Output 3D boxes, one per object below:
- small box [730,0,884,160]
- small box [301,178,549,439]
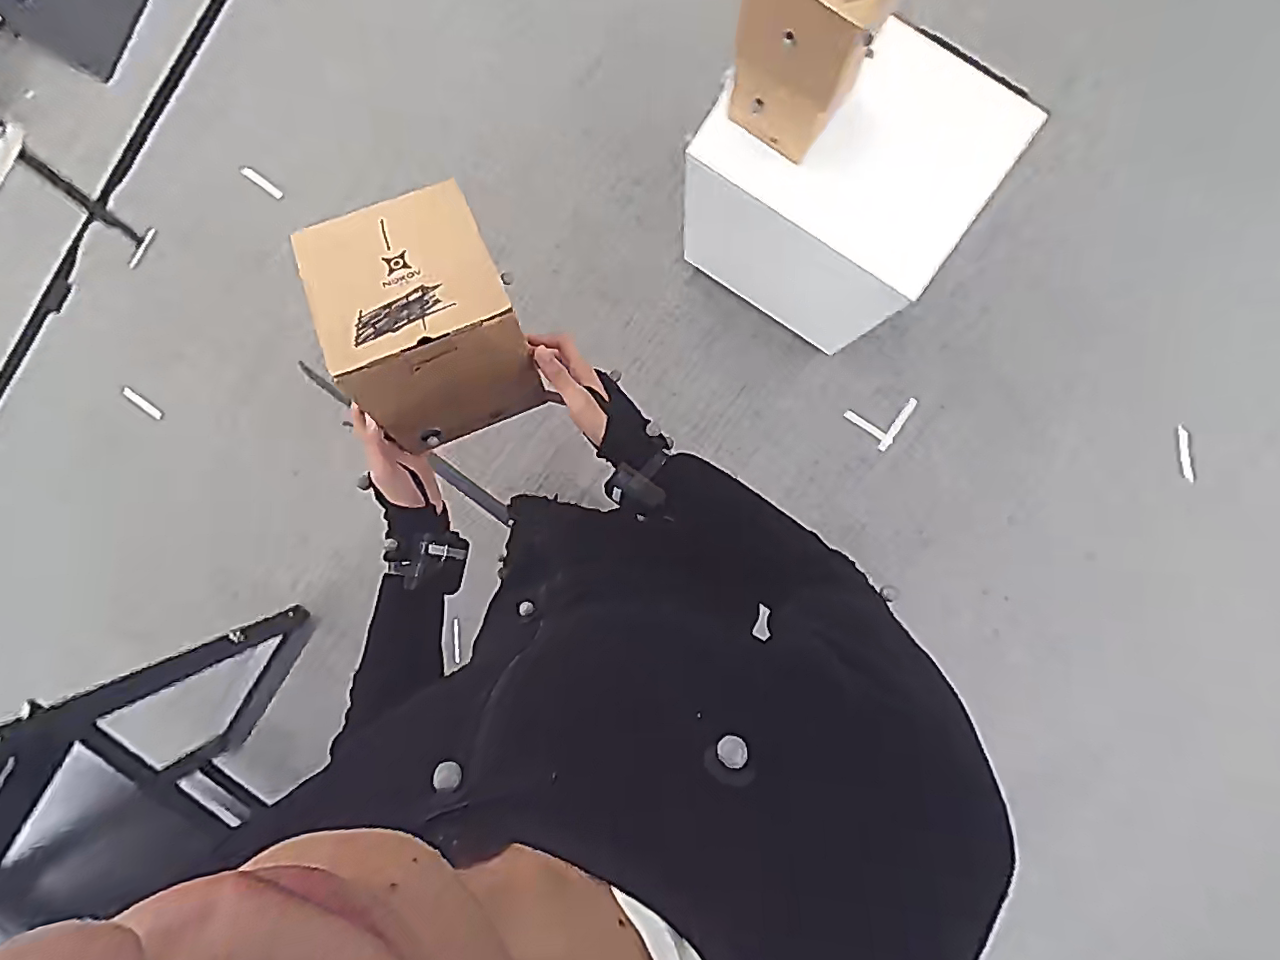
[{"bbox_3d":[0.265,-0.691,0.910,0.168,0.176,0.179,35,94,1],"label":"small box"},{"bbox_3d":[-0.206,-0.161,0.561,0.168,0.176,0.179,-22,71,-7],"label":"small box"}]
